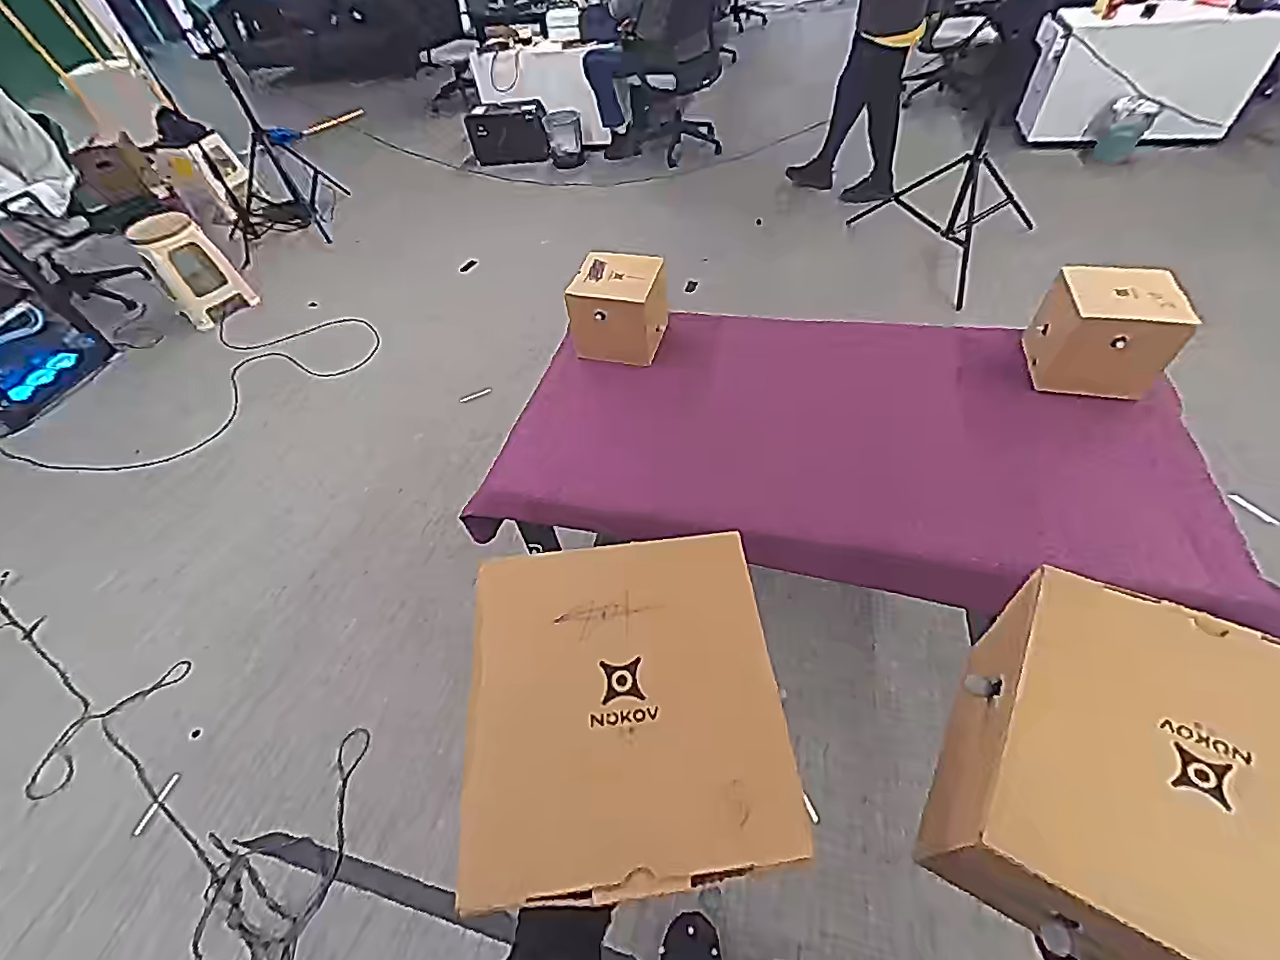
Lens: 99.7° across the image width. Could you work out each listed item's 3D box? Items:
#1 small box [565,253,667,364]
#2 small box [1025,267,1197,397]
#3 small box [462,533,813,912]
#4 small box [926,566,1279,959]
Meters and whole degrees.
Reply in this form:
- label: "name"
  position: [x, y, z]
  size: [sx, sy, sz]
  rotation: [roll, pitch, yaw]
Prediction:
- label: "small box"
  position: [-0.044, -0.378, 1.199]
  size: [0.179, 0.176, 0.168]
  rotation: [11, 54, 13]
- label: "small box"
  position: [0.853, -0.273, 1.008]
  size: [0.179, 0.176, 0.168]
  rotation: [9, 53, 13]
- label: "small box"
  position: [-0.007, 0.158, 0.357]
  size: [0.168, 0.176, 0.179]
  rotation: [-6, 54, -4]
- label: "small box"
  position: [0.294, 0.190, 0.332]
  size: [0.168, 0.176, 0.179]
  rotation: [19, 57, 26]
